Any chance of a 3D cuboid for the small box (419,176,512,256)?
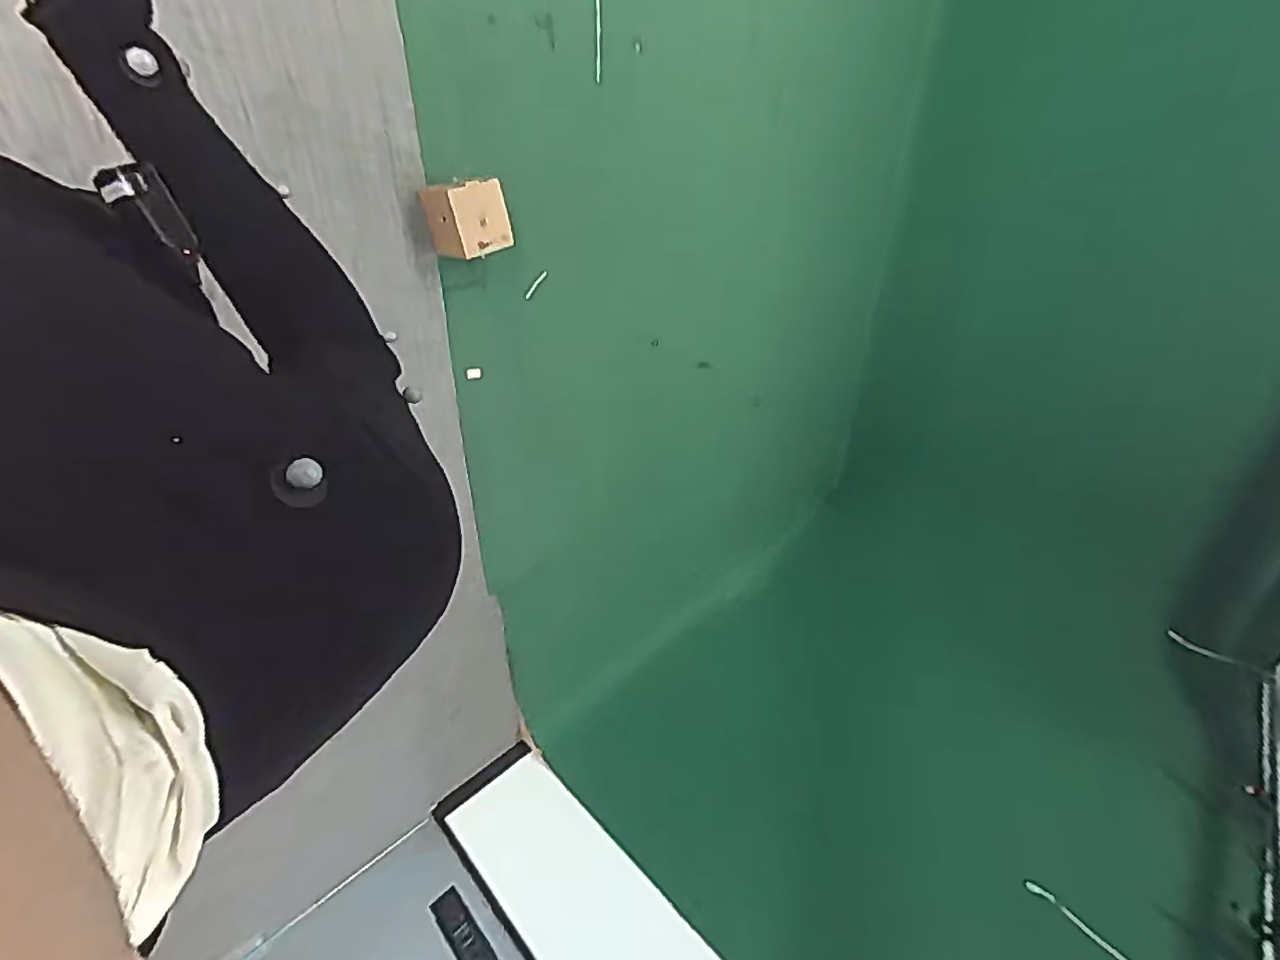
[{"bbox_3d":[-0.496,-0.749,1.532,0.168,0.176,0.179,-35,132,-32],"label":"small box"}]
